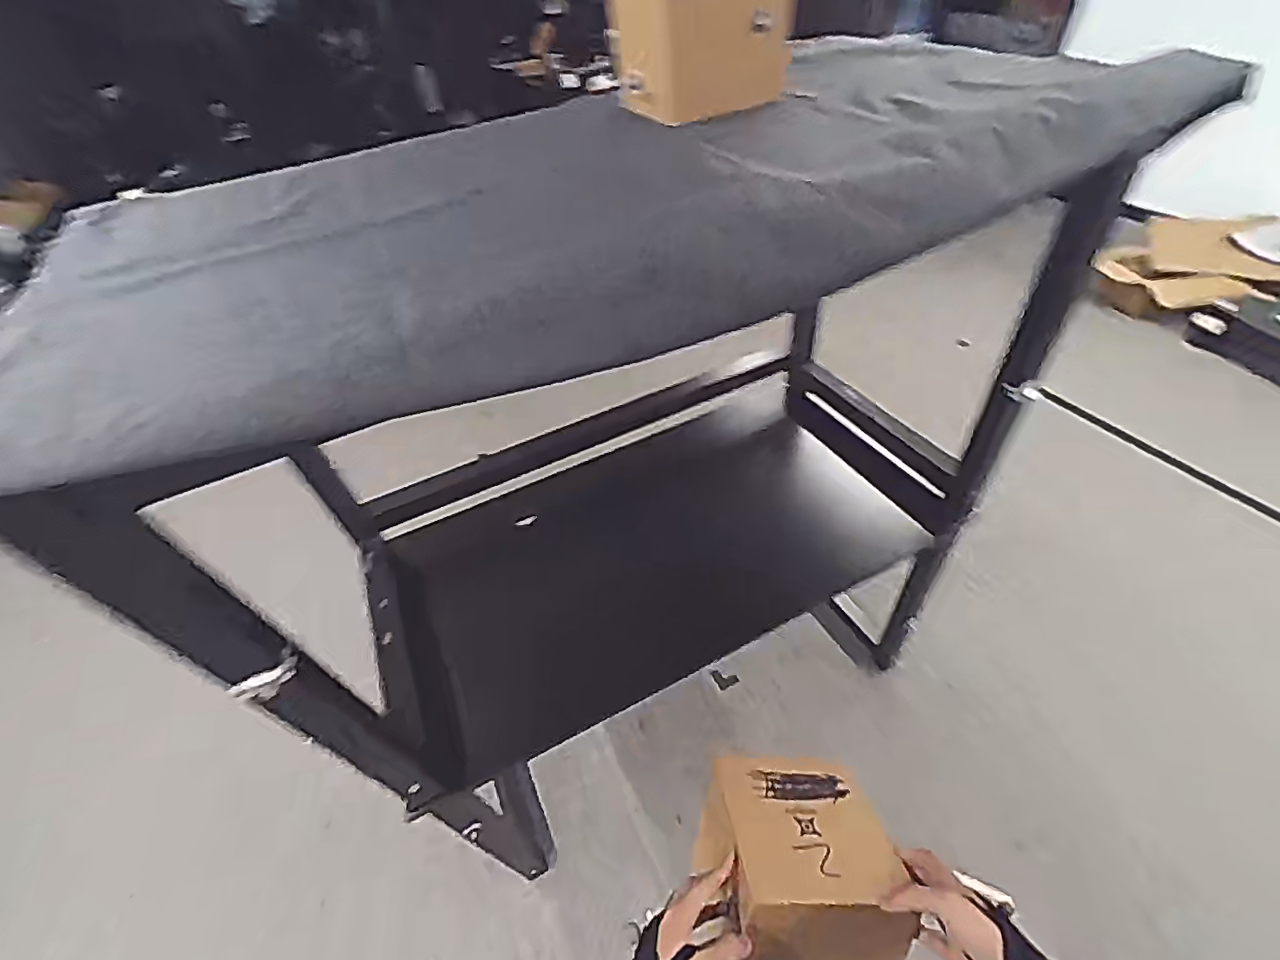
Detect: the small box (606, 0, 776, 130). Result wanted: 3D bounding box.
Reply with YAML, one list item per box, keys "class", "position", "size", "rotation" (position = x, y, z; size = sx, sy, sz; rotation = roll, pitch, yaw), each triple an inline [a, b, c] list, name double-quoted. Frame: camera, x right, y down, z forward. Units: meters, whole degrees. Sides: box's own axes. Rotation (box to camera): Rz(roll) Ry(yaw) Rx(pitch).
- class: "small box"
  position: [0.063, -0.589, 0.715]
  size: [0.179, 0.176, 0.168]
  rotation: [-22, 46, -13]
